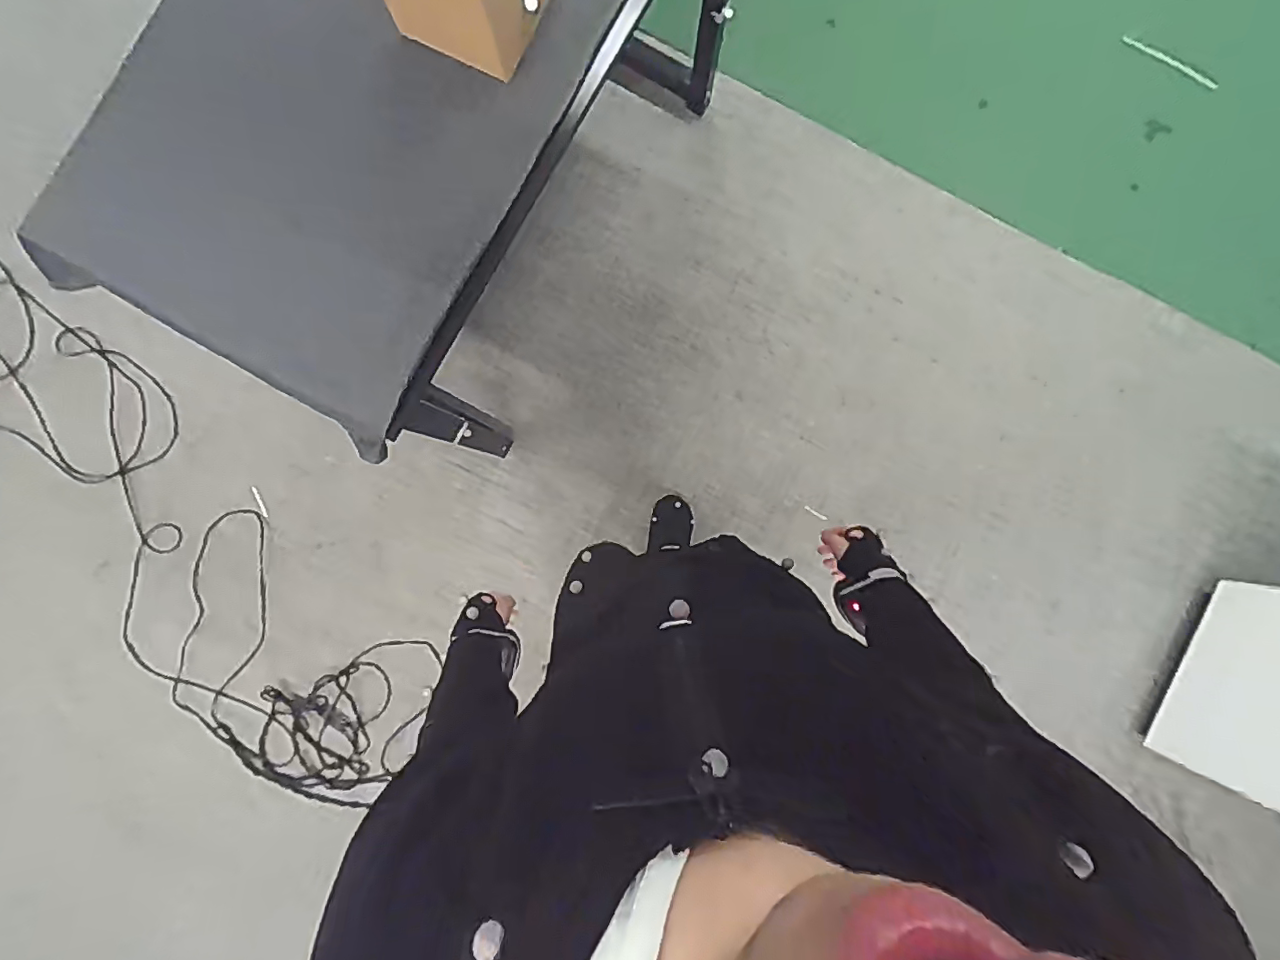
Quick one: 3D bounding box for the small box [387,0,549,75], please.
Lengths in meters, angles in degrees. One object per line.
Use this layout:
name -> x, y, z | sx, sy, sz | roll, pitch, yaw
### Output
small box -> -0.235, -0.681, 0.698 | 0.179, 0.176, 0.168 | 25, 88, 0
